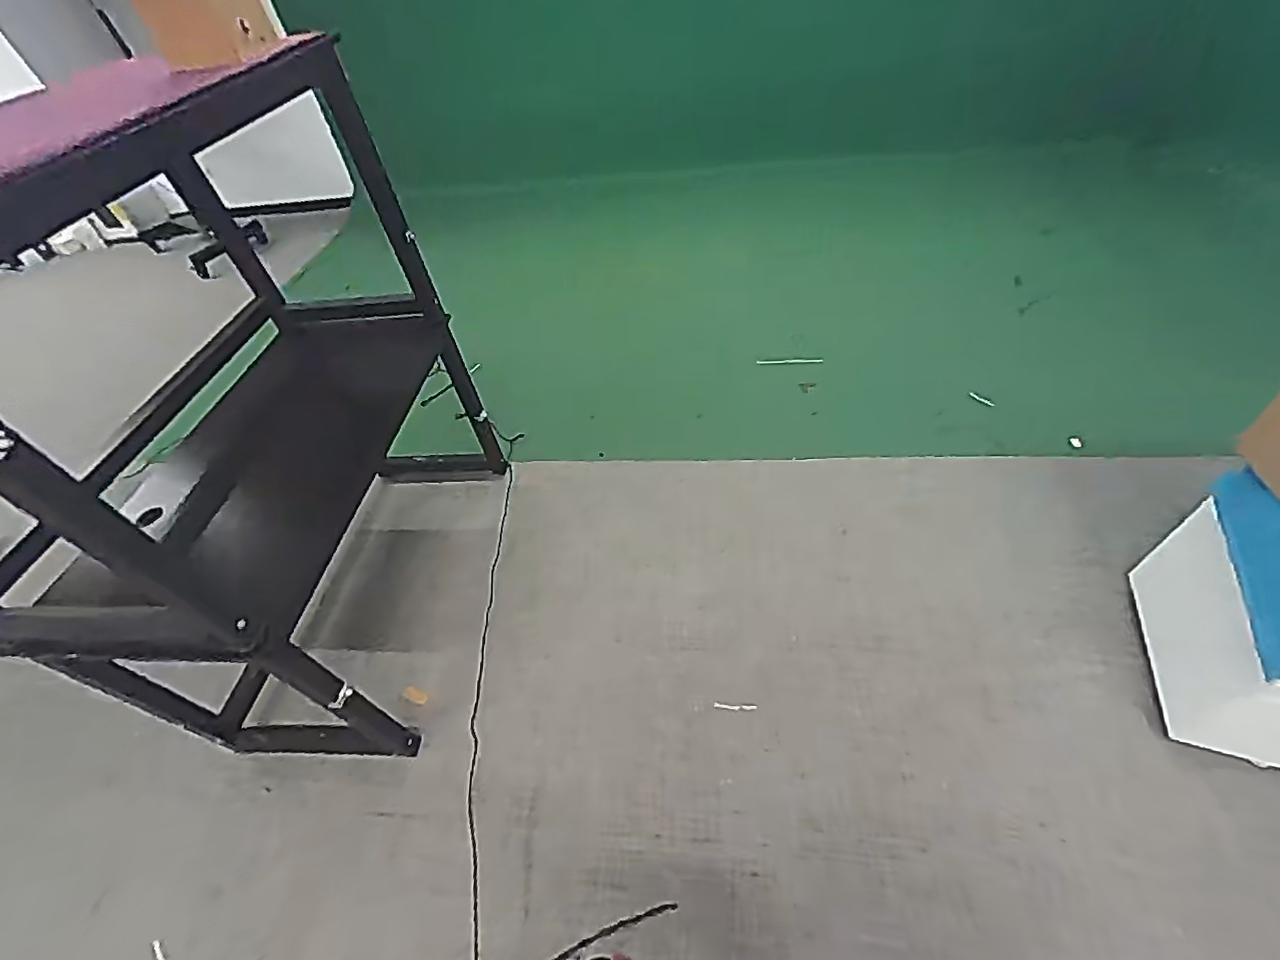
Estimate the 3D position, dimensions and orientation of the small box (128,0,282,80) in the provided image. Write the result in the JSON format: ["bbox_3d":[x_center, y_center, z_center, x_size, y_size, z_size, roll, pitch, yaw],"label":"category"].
[{"bbox_3d":[-0.905,-0.953,1.123,0.179,0.176,0.168,-1,48,7],"label":"small box"}]
